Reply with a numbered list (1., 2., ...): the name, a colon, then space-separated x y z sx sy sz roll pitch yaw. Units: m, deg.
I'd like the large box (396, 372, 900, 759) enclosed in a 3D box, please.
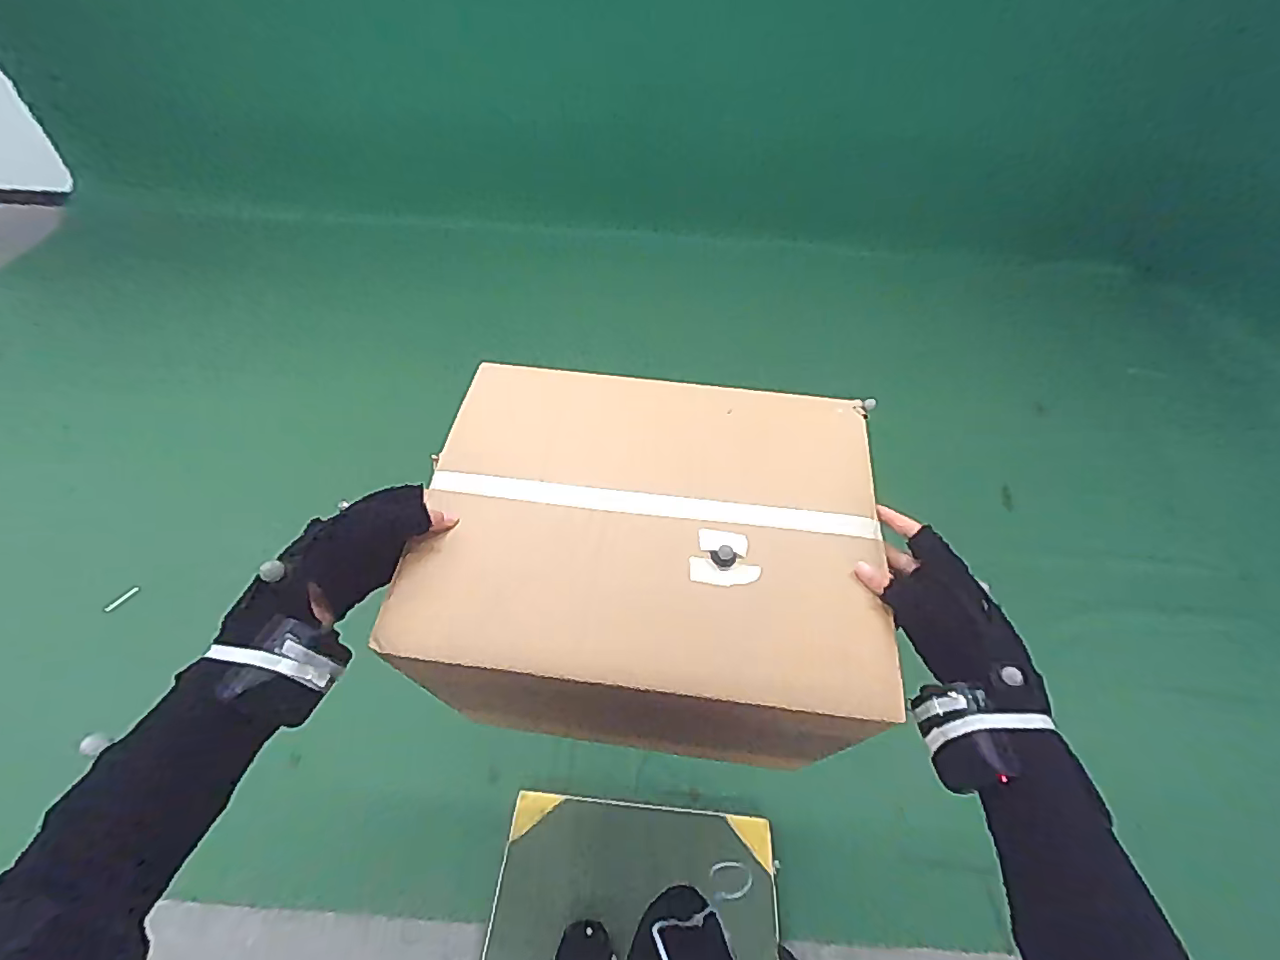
1. large box: 0.013 0.109 0.622 0.408 0.320 0.320 7 56 3
